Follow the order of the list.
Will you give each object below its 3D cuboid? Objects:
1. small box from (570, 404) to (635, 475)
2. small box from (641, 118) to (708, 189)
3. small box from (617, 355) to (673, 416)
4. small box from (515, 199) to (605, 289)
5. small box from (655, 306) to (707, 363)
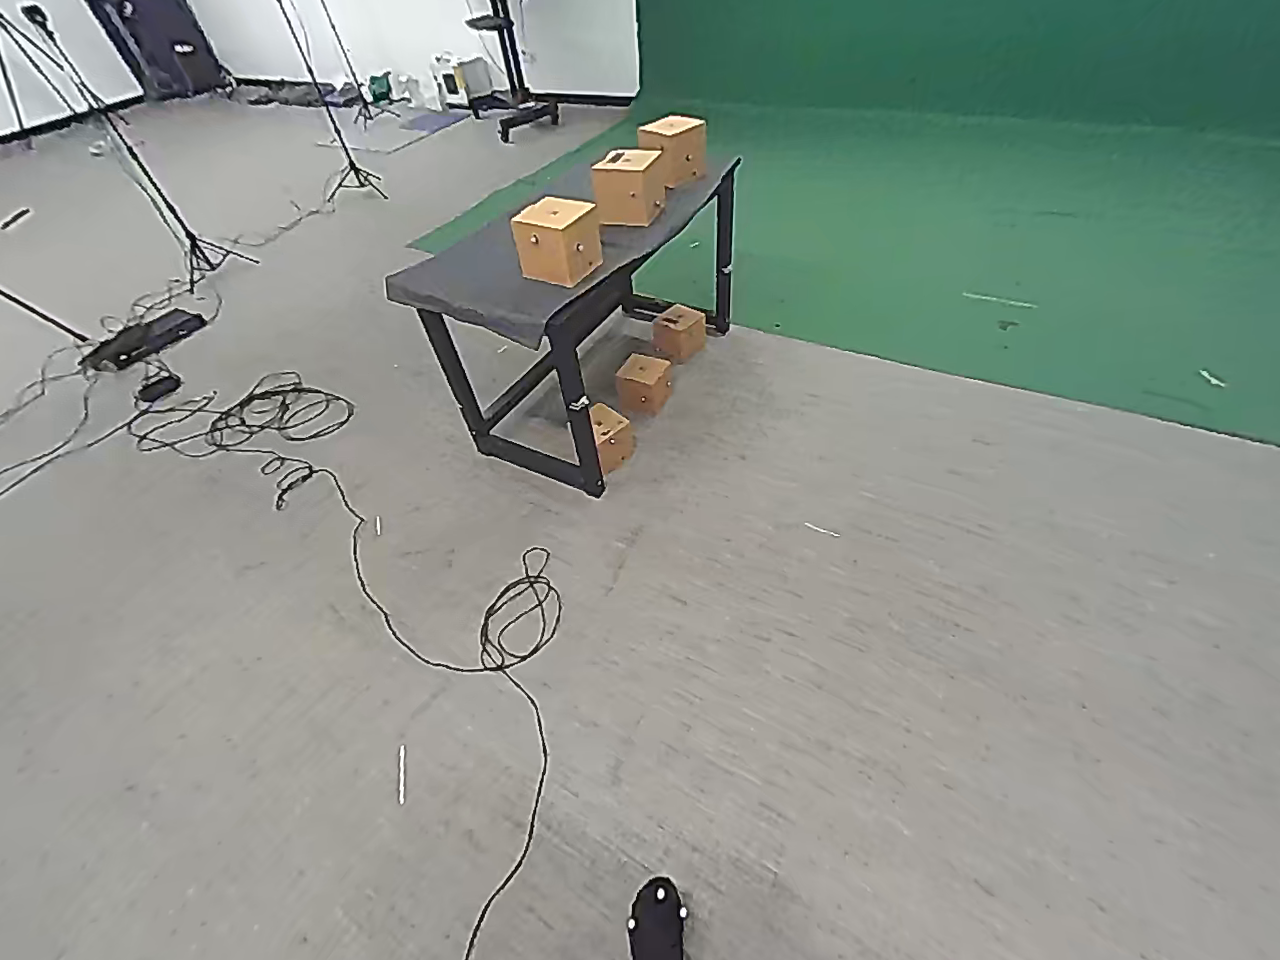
[{"bbox_3d":[-0.139,-0.149,2.033,0.168,0.176,0.179,-37,54,-24],"label":"small box"},{"bbox_3d":[0.128,-1.155,1.916,0.168,0.176,0.179,-34,51,-22],"label":"small box"},{"bbox_3d":[0.026,-0.384,2.224,0.179,0.176,0.168,18,52,22],"label":"small box"},{"bbox_3d":[-0.217,-0.661,1.520,0.179,0.176,0.168,22,54,24],"label":"small box"},{"bbox_3d":[0.188,-0.657,2.448,0.168,0.176,0.179,32,58,29],"label":"small box"}]
